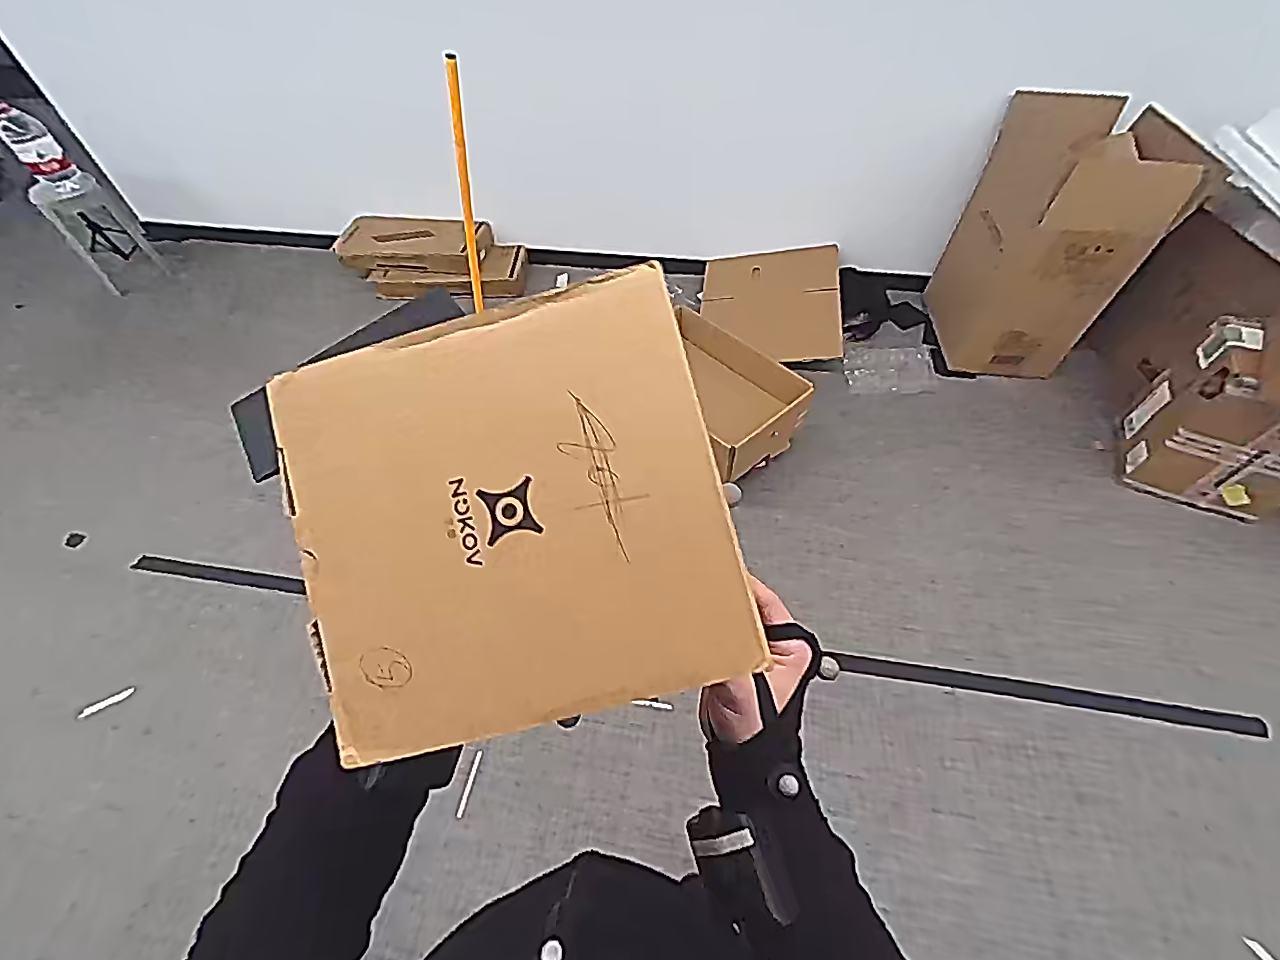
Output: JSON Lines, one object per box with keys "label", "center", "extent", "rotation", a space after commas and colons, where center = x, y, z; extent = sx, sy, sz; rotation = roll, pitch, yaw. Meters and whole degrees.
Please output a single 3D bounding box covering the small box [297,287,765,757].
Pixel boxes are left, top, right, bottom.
{"label": "small box", "center": [-0.044, 0.024, 0.307], "extent": [0.179, 0.176, 0.168], "rotation": [-16, 84, 3]}
